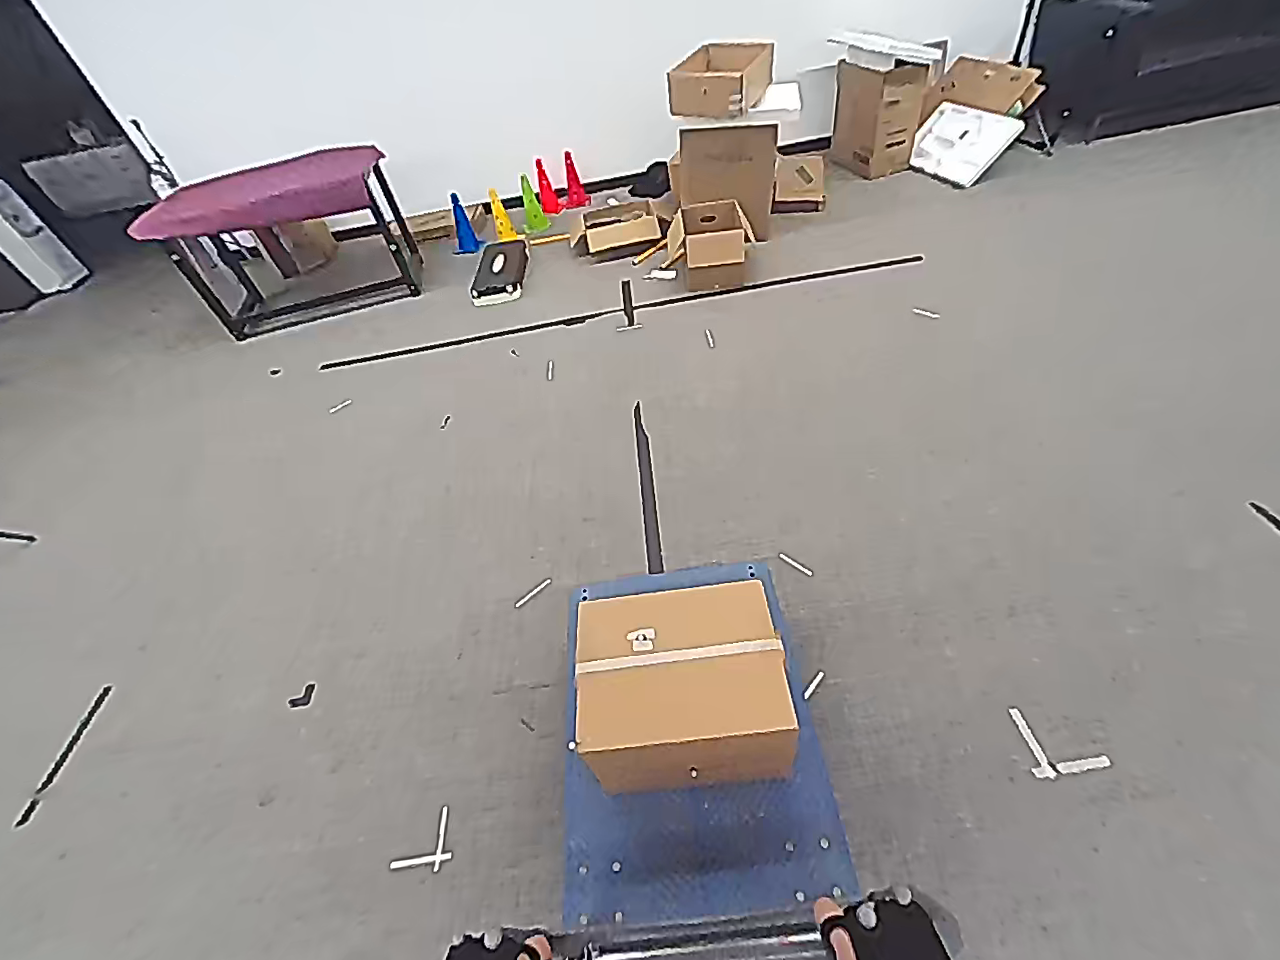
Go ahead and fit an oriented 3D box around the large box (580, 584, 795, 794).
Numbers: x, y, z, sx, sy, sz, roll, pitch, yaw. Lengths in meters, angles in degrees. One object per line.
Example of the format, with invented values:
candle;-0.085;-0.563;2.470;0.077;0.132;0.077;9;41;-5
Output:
large box;0.099;0.469;1.198;0.408;0.320;0.320;-9;45;4
